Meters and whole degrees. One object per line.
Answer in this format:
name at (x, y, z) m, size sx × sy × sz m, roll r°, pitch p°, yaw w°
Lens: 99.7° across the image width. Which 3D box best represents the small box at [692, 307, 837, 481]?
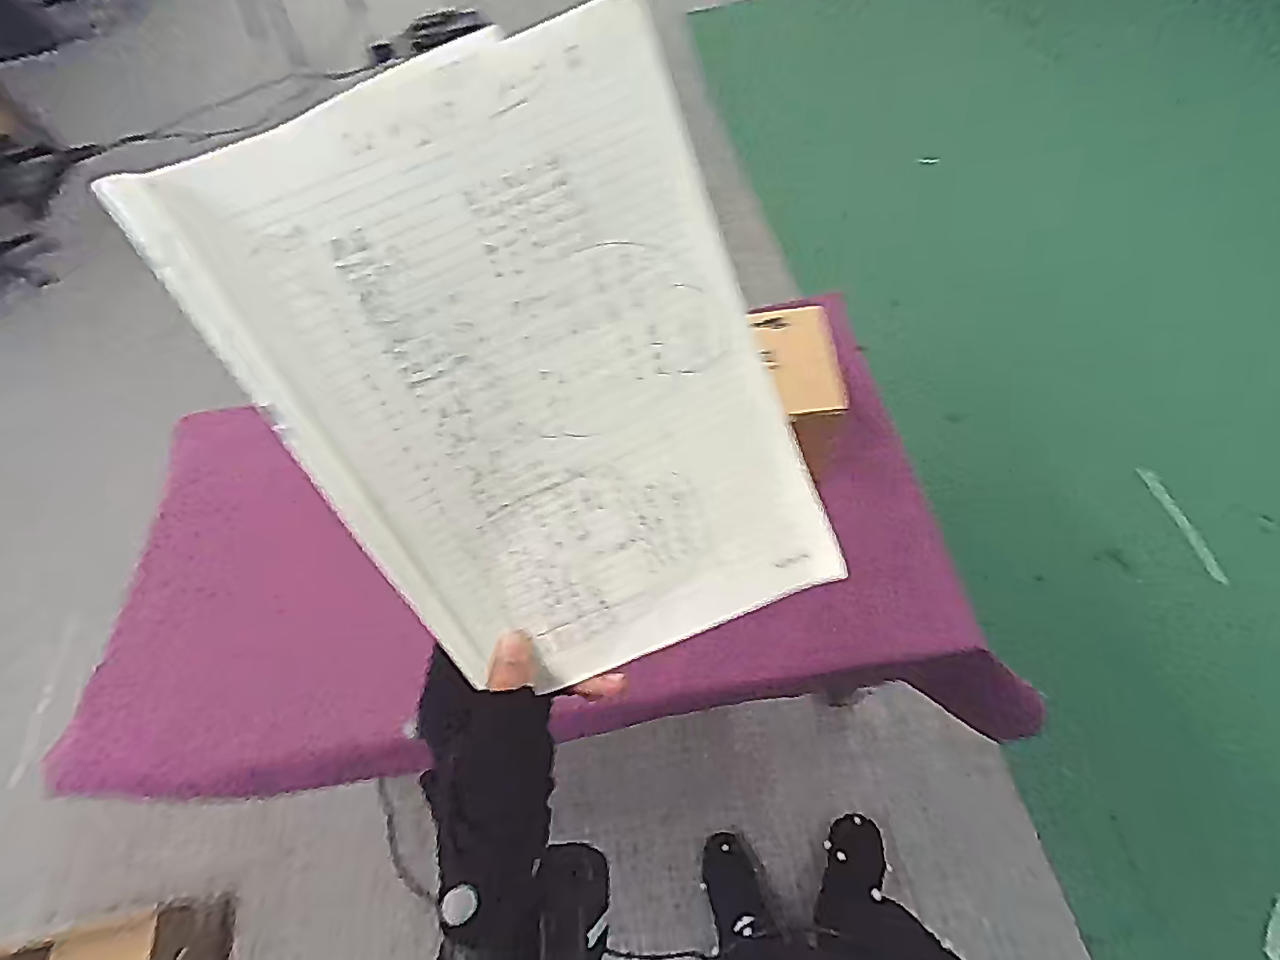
small box at (0.164, -0.108, 0.749) m, size 0.168 × 0.176 × 0.179 m, roll -5°, pitch 61°, yaw 7°
